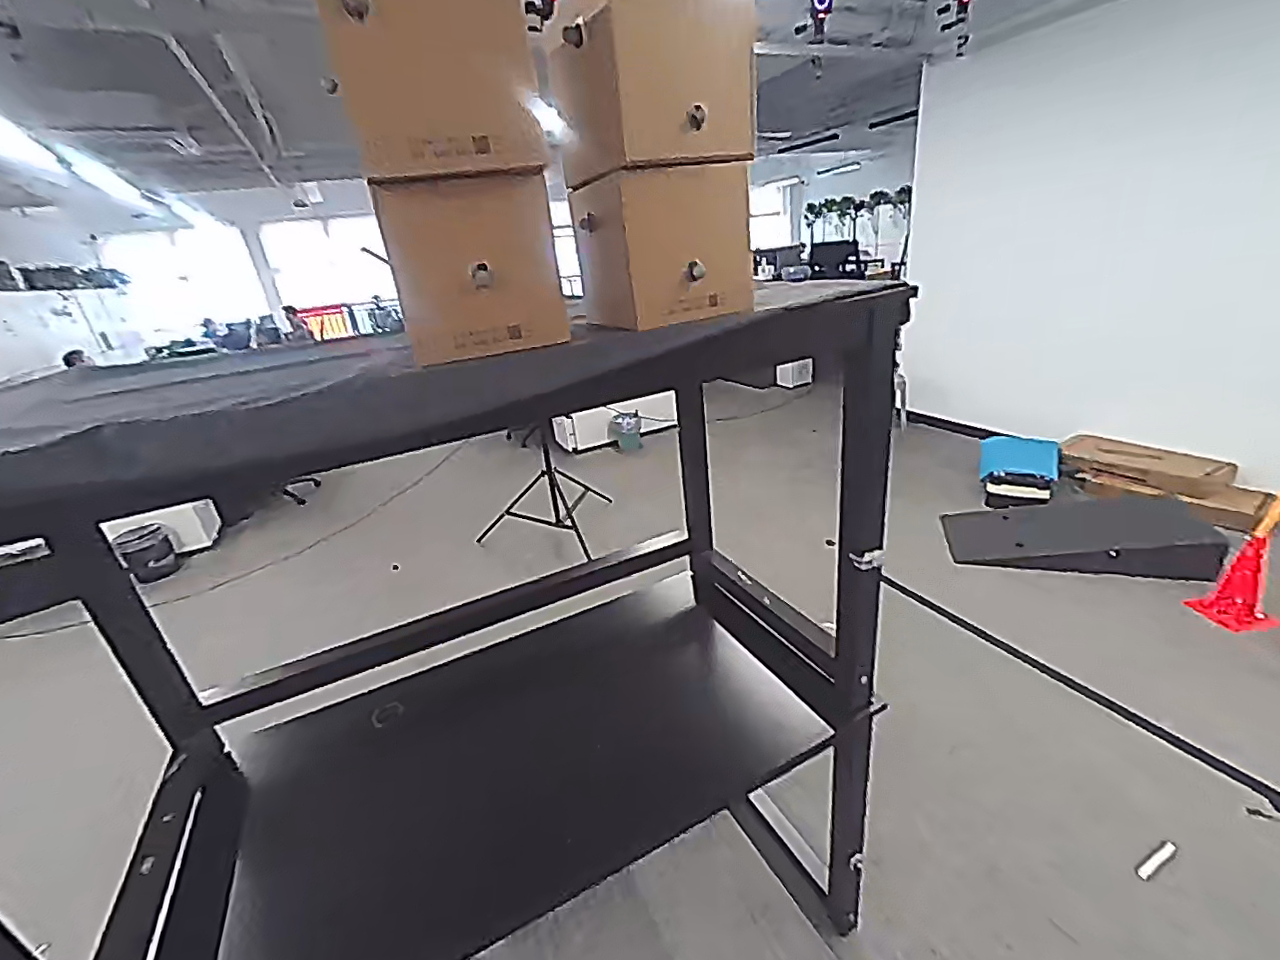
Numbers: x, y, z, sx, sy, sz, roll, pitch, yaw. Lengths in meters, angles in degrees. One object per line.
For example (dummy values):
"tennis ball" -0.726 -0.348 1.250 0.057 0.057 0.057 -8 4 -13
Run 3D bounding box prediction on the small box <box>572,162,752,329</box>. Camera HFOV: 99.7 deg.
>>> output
"small box" 0.026 -0.291 0.691 0.168 0.176 0.179 -17 24 -20

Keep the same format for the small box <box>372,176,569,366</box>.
"small box" -0.188 -0.229 0.610 0.168 0.176 0.179 -15 24 -19

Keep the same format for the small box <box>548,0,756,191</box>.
"small box" 0.013 -0.441 0.617 0.179 0.176 0.168 -17 24 -25
